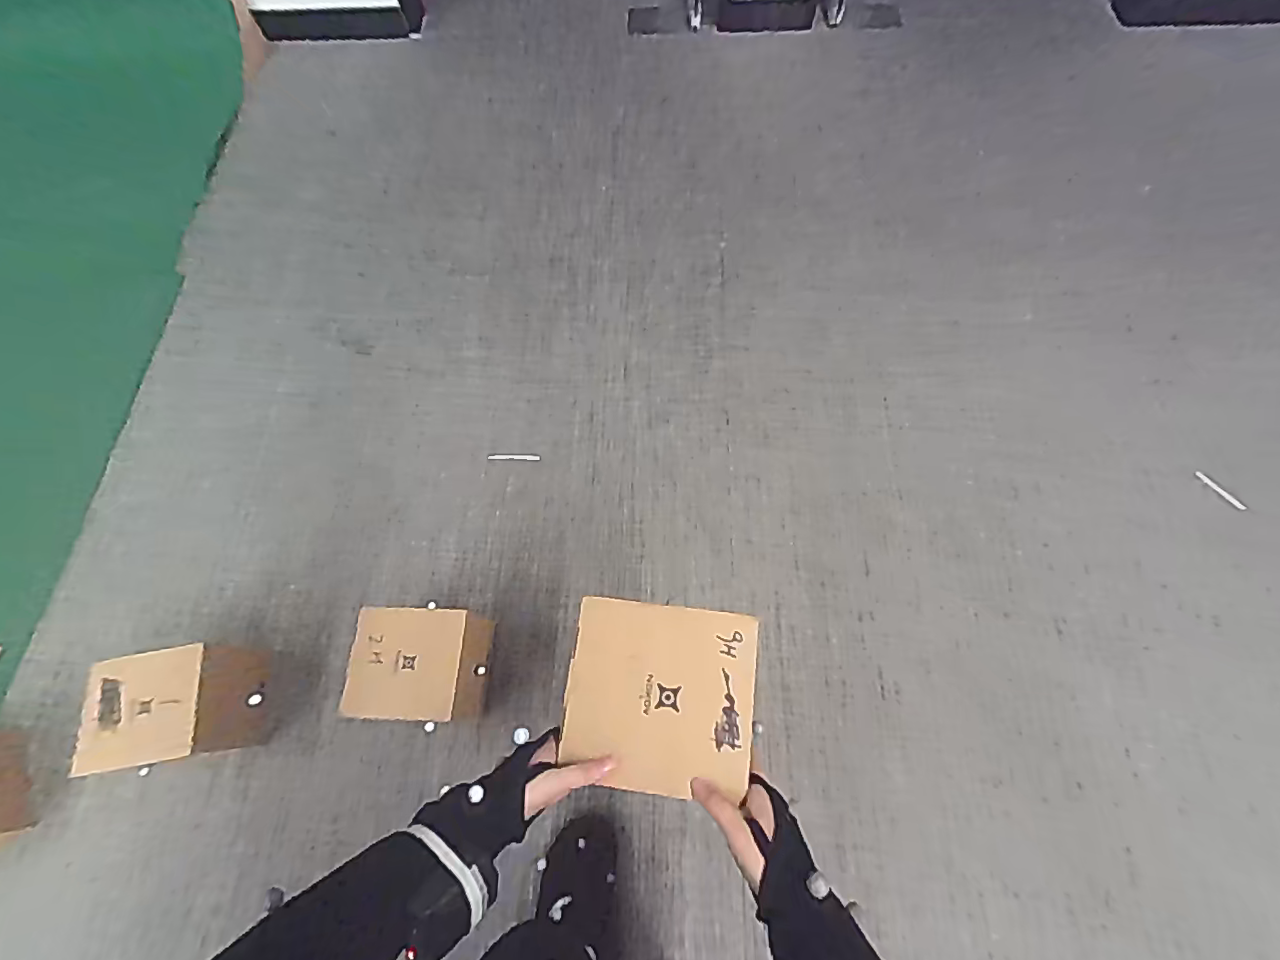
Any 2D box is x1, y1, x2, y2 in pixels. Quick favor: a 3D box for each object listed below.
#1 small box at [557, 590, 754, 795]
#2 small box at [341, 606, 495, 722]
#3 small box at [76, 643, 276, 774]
[{"bbox_3d":[0.025,0.223,0.594,0.179,0.176,0.168,5,73,7],"label":"small box"},{"bbox_3d":[-0.357,0.312,0.911,0.179,0.176,0.168,2,67,2],"label":"small box"},{"bbox_3d":[-0.750,0.376,0.896,0.179,0.176,0.168,-10,68,-3],"label":"small box"}]
